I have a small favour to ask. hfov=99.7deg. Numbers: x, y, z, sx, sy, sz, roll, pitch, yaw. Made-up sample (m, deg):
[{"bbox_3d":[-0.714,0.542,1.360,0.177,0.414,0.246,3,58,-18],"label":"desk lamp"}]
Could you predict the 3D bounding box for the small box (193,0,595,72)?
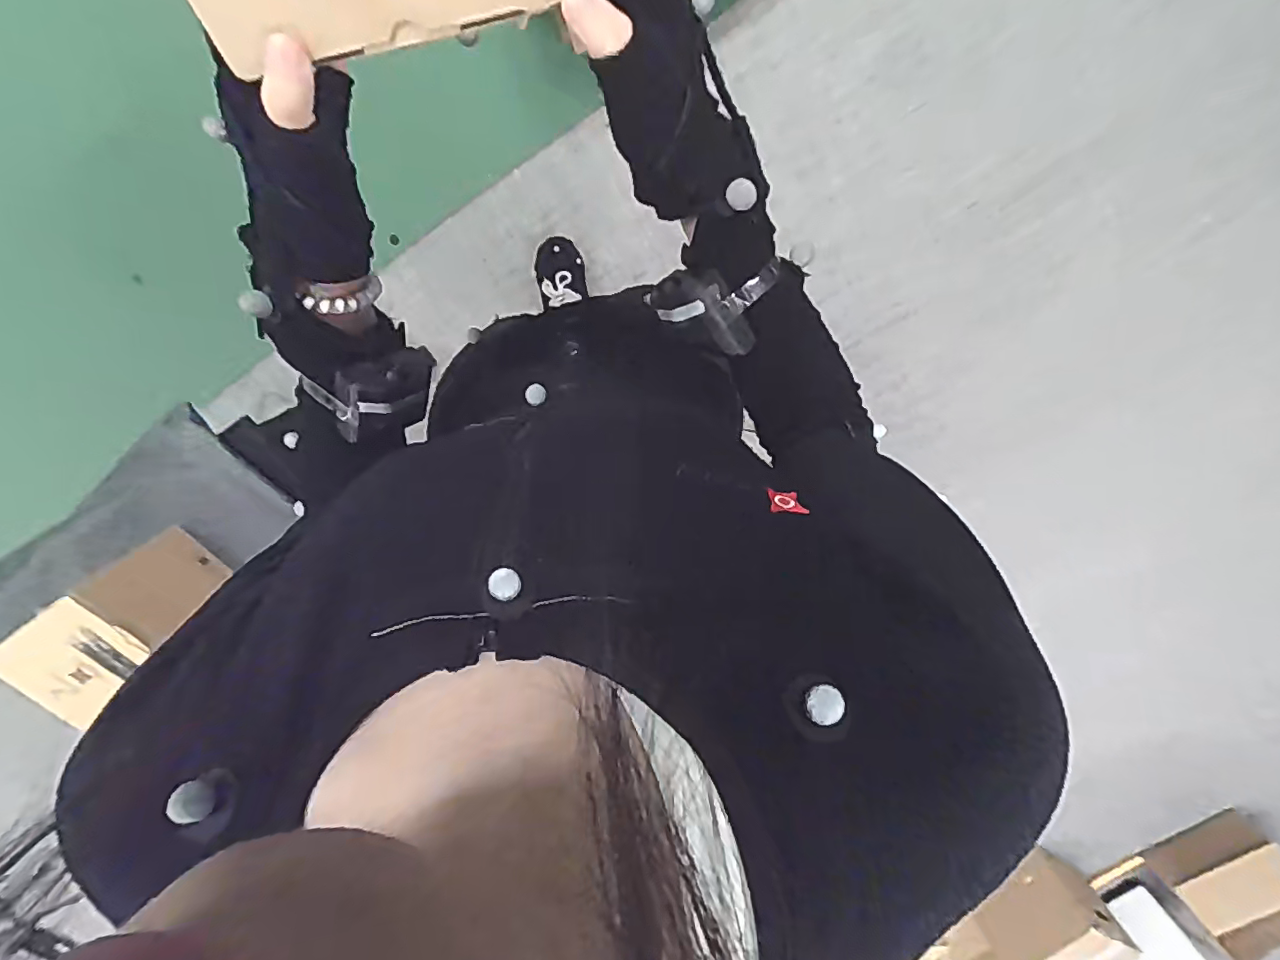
[{"bbox_3d":[-0.113,-0.305,0.225,0.168,0.176,0.179,-7,137,6],"label":"small box"}]
